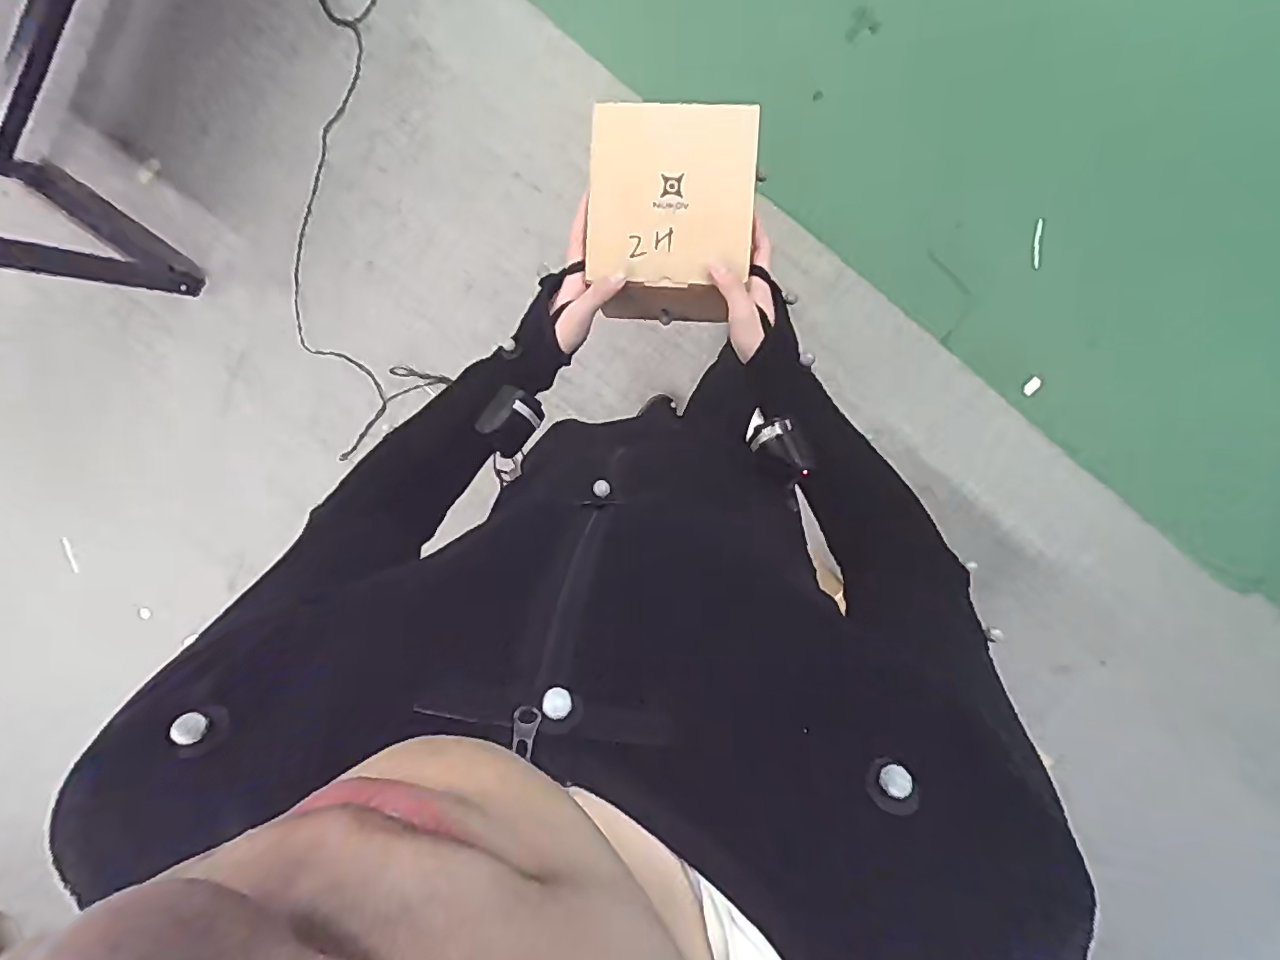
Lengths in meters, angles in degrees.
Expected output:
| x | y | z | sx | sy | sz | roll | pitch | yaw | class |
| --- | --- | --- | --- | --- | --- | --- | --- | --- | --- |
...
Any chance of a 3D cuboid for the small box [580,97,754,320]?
| x | y | z | sx | sy | sz | roll | pitch | yaw | class |
| --- | --- | --- | --- | --- | --- | --- | --- | --- | --- |
| 0.030 | -0.291 | 0.611 | 0.168 | 0.176 | 0.179 | 3 | 95 | 4 | small box |
